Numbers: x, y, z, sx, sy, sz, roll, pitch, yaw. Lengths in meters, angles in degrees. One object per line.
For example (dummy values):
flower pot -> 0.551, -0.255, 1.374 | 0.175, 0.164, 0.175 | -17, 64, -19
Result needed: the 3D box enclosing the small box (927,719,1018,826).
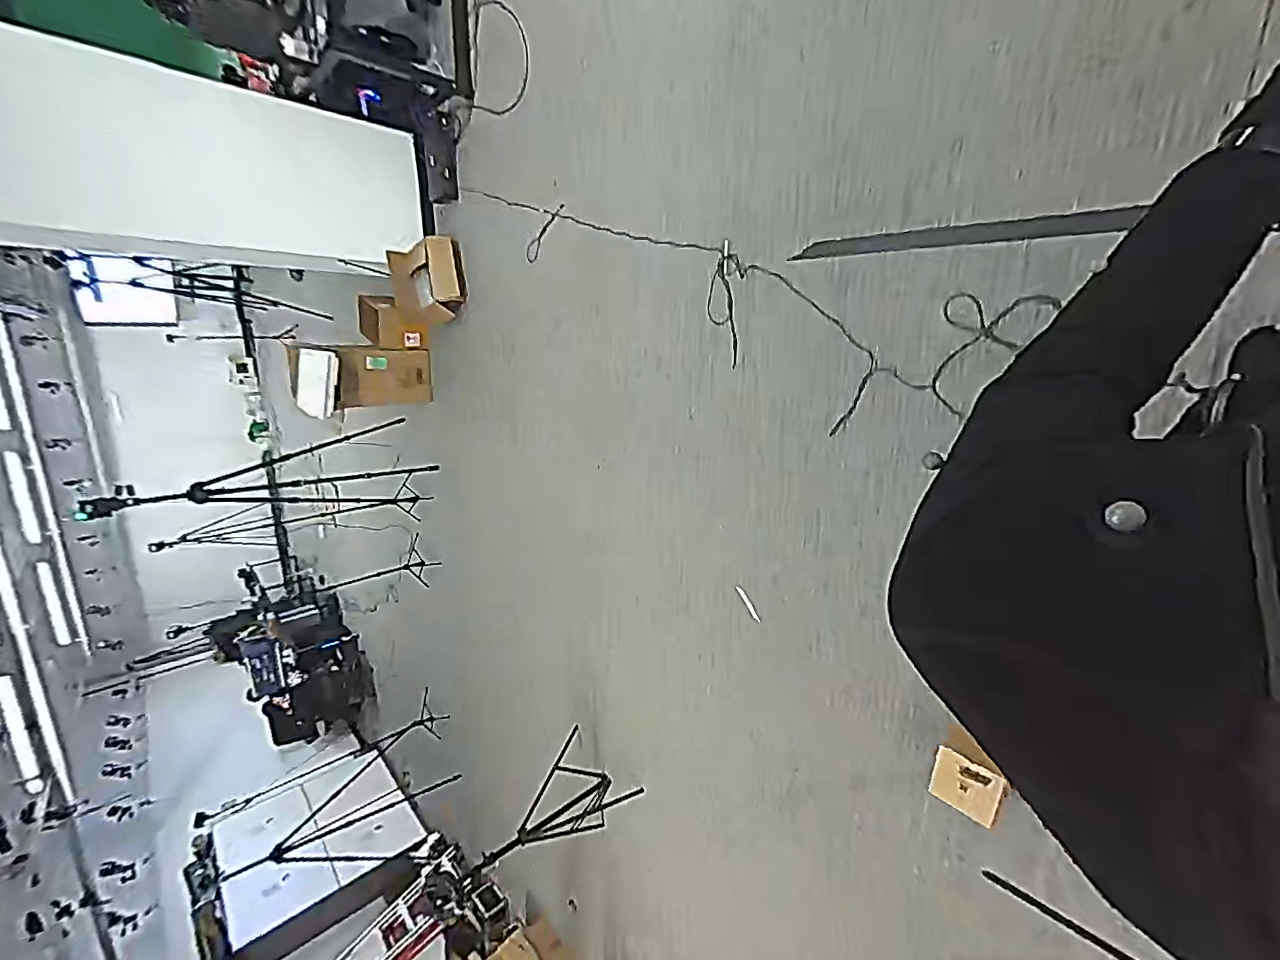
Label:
small box -> 0.956, 0.827, 1.551 | 0.168, 0.176, 0.179 | 21, 116, 44
